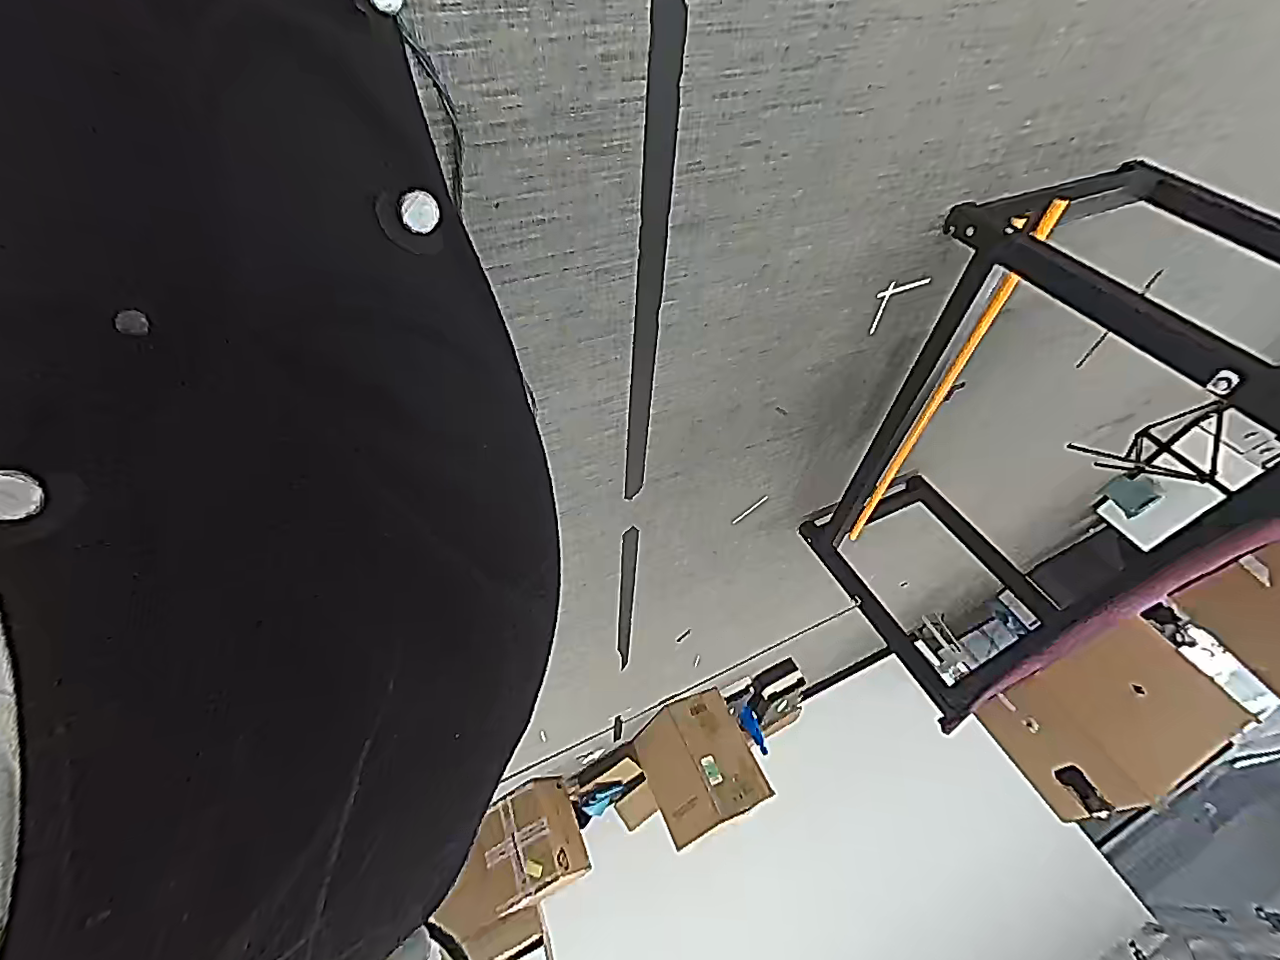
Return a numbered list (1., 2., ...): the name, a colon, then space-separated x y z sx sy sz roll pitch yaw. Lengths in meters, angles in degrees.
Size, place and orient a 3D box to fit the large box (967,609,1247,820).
1. large box: 1.170 0.600 1.400 0.408 0.320 0.320 -21 146 -18
